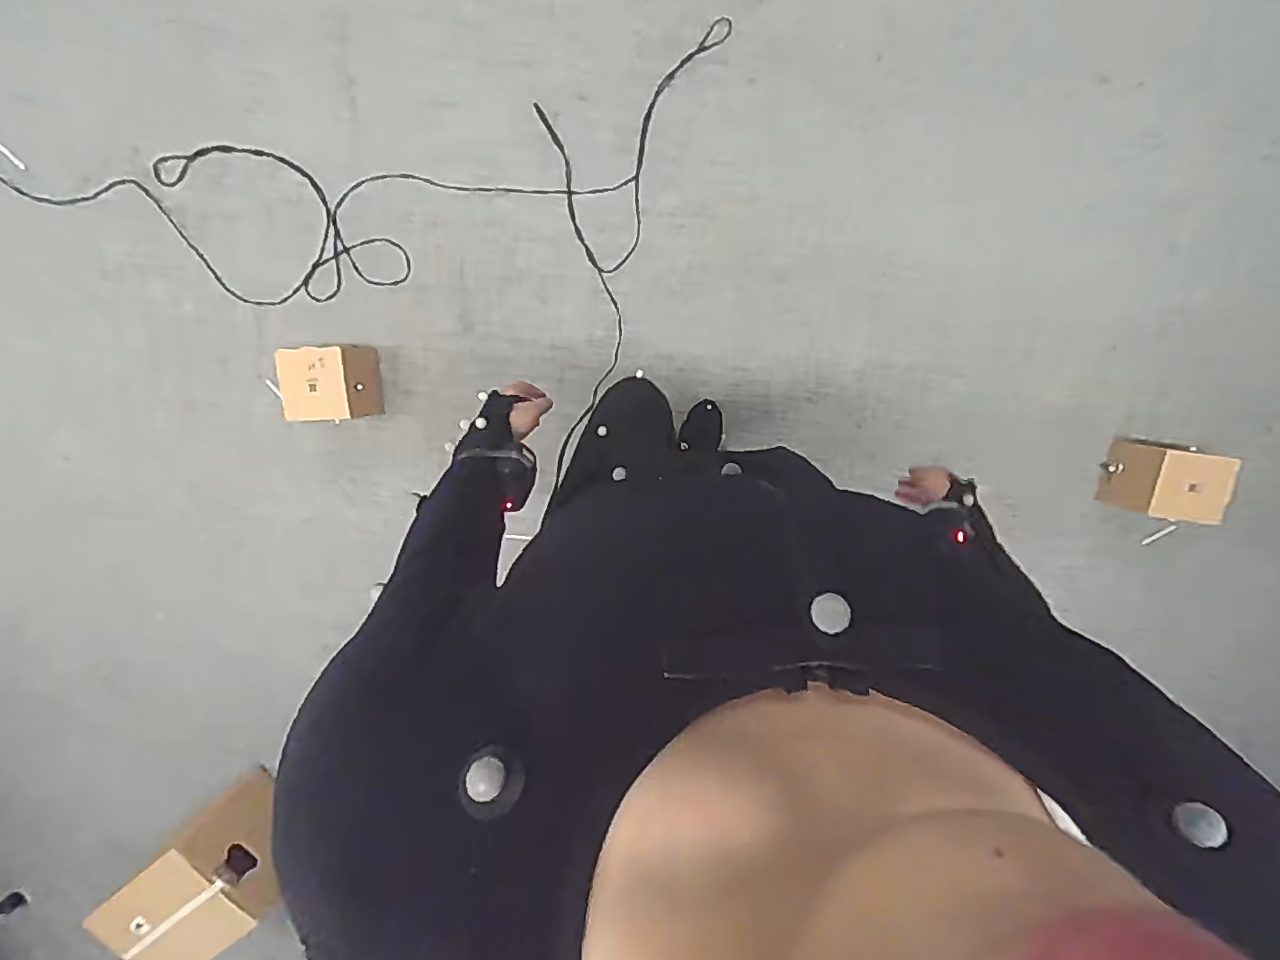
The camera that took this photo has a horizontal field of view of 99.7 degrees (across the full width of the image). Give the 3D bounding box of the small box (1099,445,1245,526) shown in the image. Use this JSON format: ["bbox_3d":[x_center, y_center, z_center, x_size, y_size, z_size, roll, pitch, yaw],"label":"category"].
[{"bbox_3d":[1.324,0.007,1.359,0.179,0.176,0.168,7,101,2],"label":"small box"}]

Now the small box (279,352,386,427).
[{"bbox_3d":[-0.772,-0.233,1.378,0.168,0.176,0.179,-2,101,3],"label":"small box"}]
